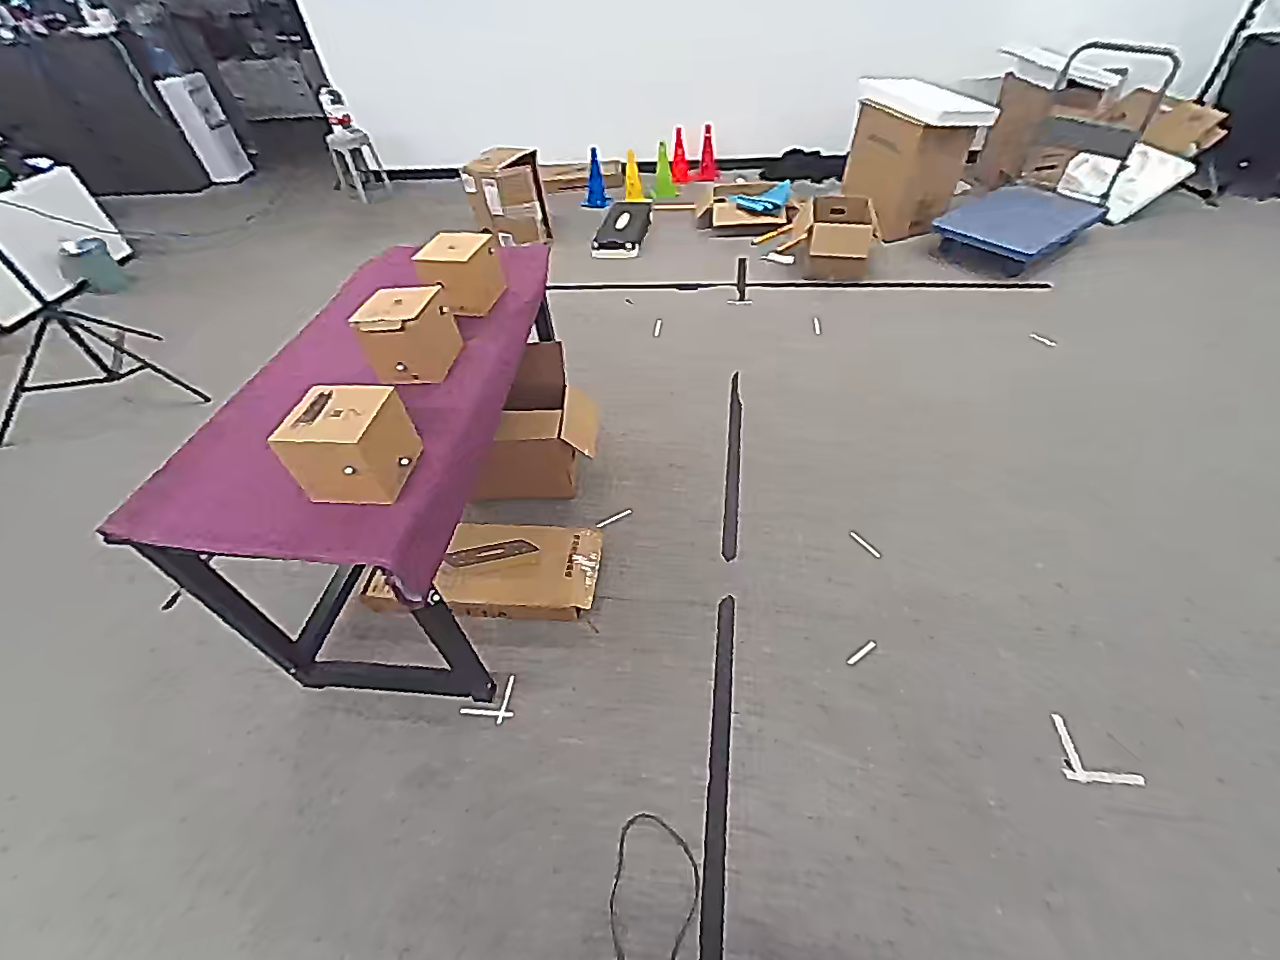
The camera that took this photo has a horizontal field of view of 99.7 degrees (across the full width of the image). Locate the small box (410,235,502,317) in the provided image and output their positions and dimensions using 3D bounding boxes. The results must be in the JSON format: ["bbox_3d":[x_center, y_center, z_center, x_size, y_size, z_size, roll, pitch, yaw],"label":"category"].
[{"bbox_3d":[-0.516,-0.583,1.549,0.168,0.176,0.179,6,47,11],"label":"small box"}]

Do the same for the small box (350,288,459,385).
[{"bbox_3d":[-0.568,-0.353,1.335,0.168,0.176,0.179,-1,47,8],"label":"small box"}]
